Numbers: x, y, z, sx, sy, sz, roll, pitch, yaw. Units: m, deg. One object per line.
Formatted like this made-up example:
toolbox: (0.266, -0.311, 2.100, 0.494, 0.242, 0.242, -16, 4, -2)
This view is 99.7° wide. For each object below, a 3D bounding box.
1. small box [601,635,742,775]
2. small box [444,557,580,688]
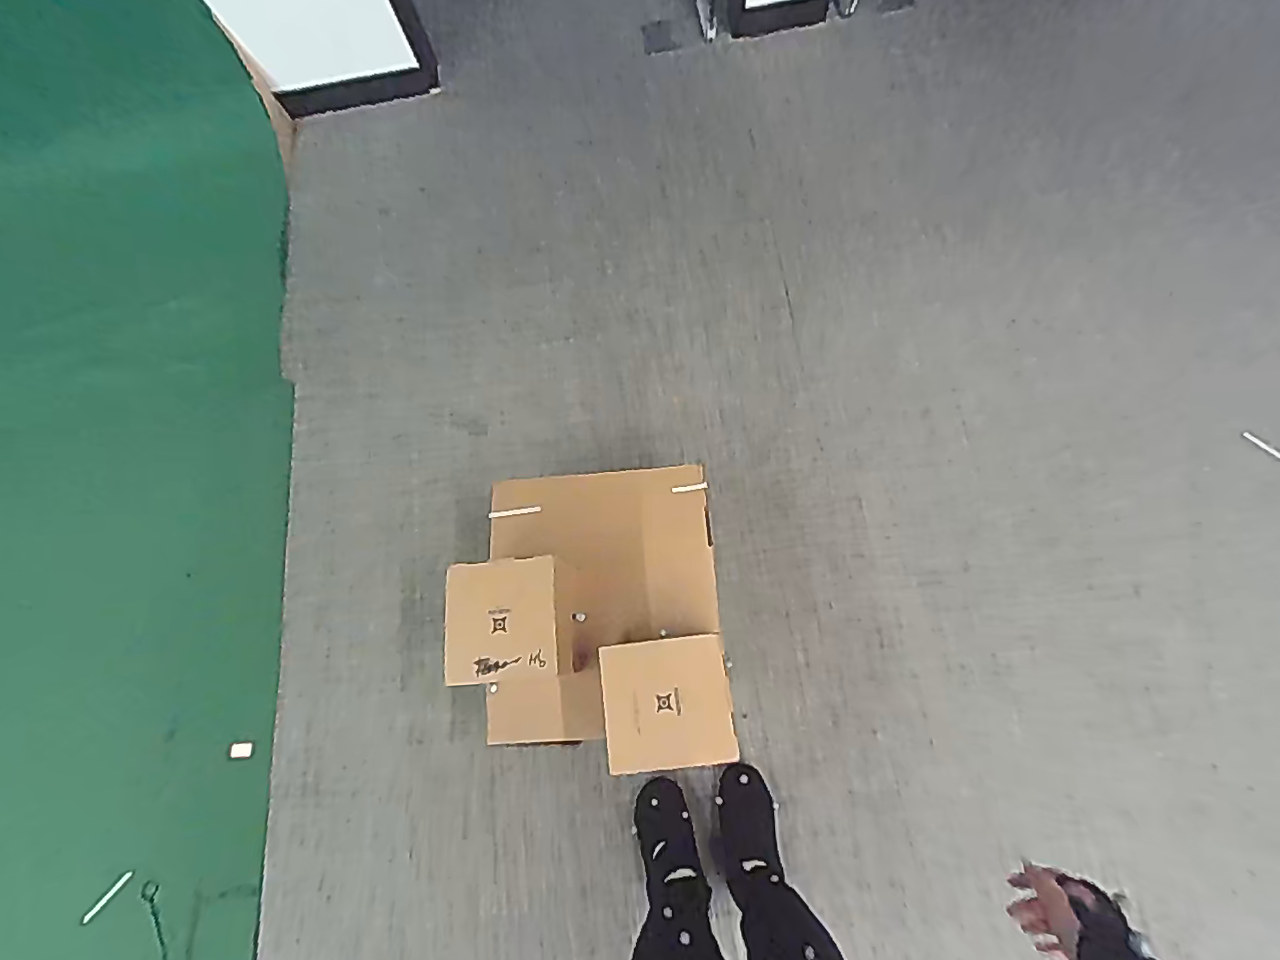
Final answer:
small box: (0.044, 0.324, 0.807, 0.179, 0.176, 0.168, -8, 73, 2)
small box: (-0.193, 0.229, 0.855, 0.168, 0.176, 0.179, -6, 72, 3)
